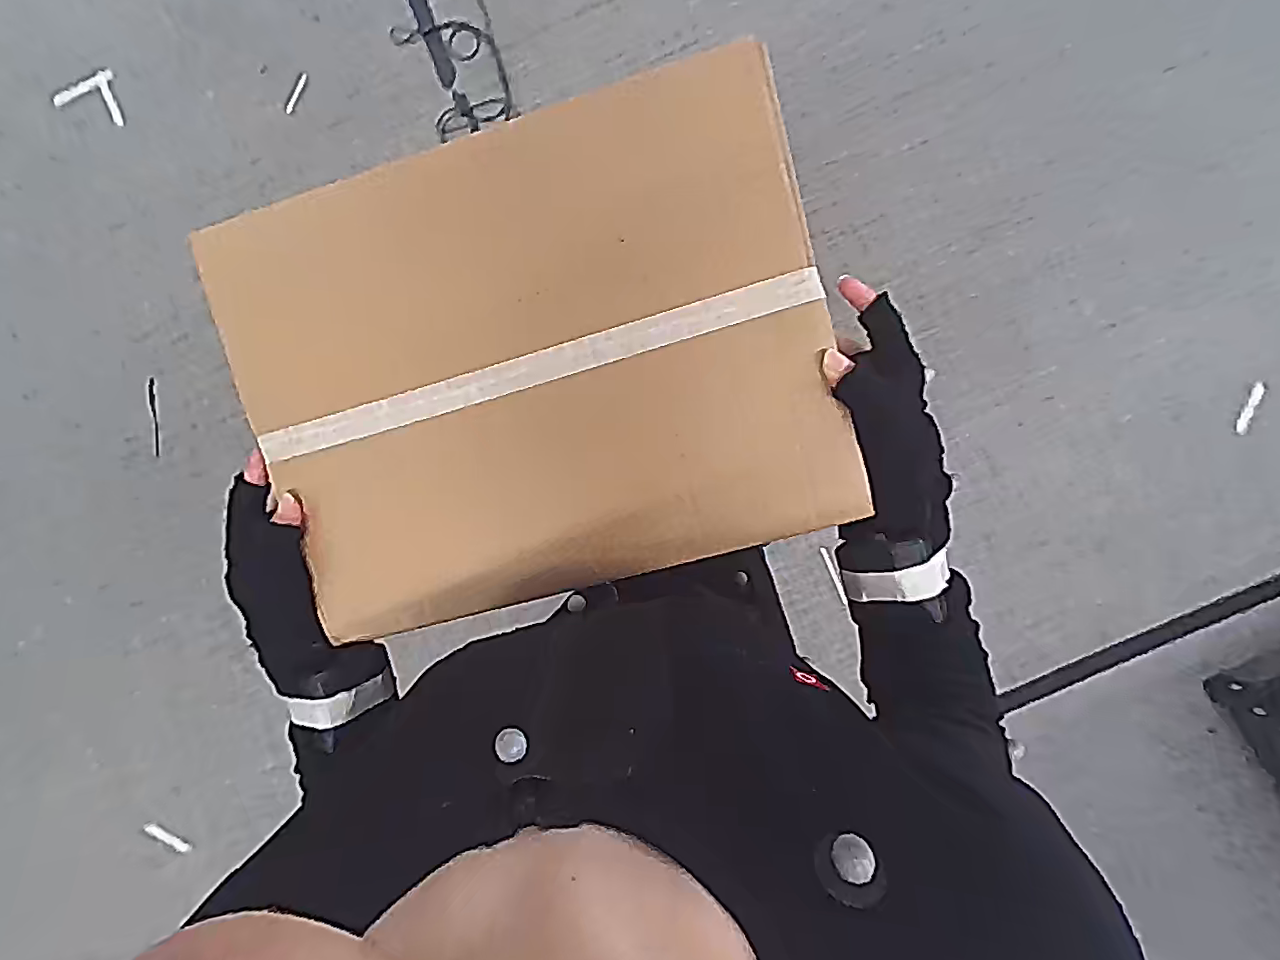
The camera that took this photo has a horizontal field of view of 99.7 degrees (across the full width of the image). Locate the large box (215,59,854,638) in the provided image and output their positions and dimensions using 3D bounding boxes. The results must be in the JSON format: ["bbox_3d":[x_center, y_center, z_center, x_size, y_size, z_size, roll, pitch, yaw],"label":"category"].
[{"bbox_3d":[-0.066,-0.093,0.530,0.408,0.320,0.320,-15,95,7],"label":"large box"}]
